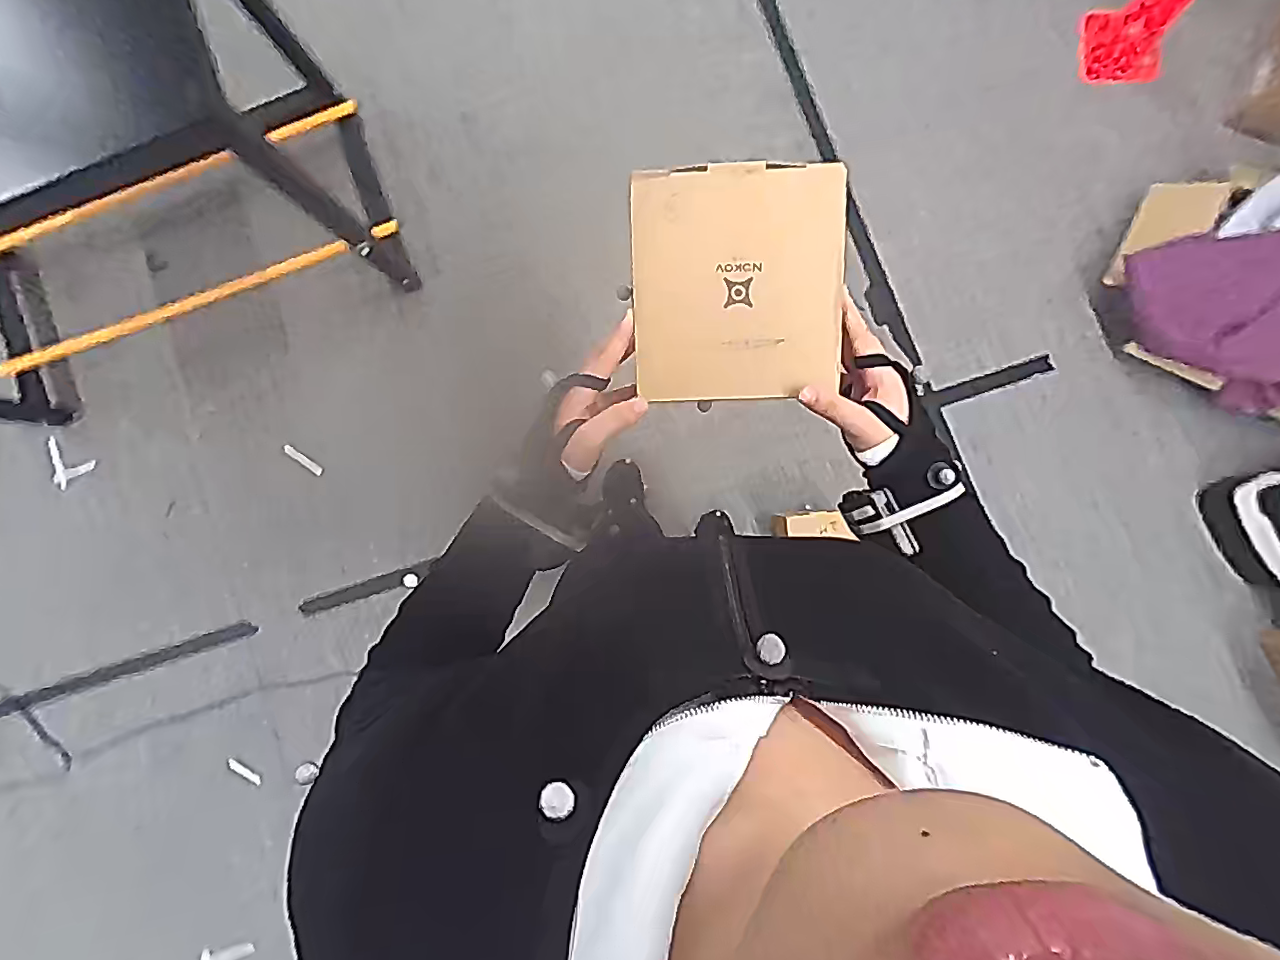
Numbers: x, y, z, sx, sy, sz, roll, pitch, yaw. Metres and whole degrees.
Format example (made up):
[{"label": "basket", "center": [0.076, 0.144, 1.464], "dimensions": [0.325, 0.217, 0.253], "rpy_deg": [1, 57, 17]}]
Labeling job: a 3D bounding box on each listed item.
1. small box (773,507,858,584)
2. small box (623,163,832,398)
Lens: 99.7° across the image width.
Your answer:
[{"label": "small box", "center": [0.452, 0.166, 1.411], "dimensions": [0.168, 0.176, 0.179], "rpy_deg": [-6, 88, 2]}, {"label": "small box", "center": [0.068, -0.169, 0.507], "dimensions": [0.168, 0.176, 0.179], "rpy_deg": [-3, 101, 1]}]
